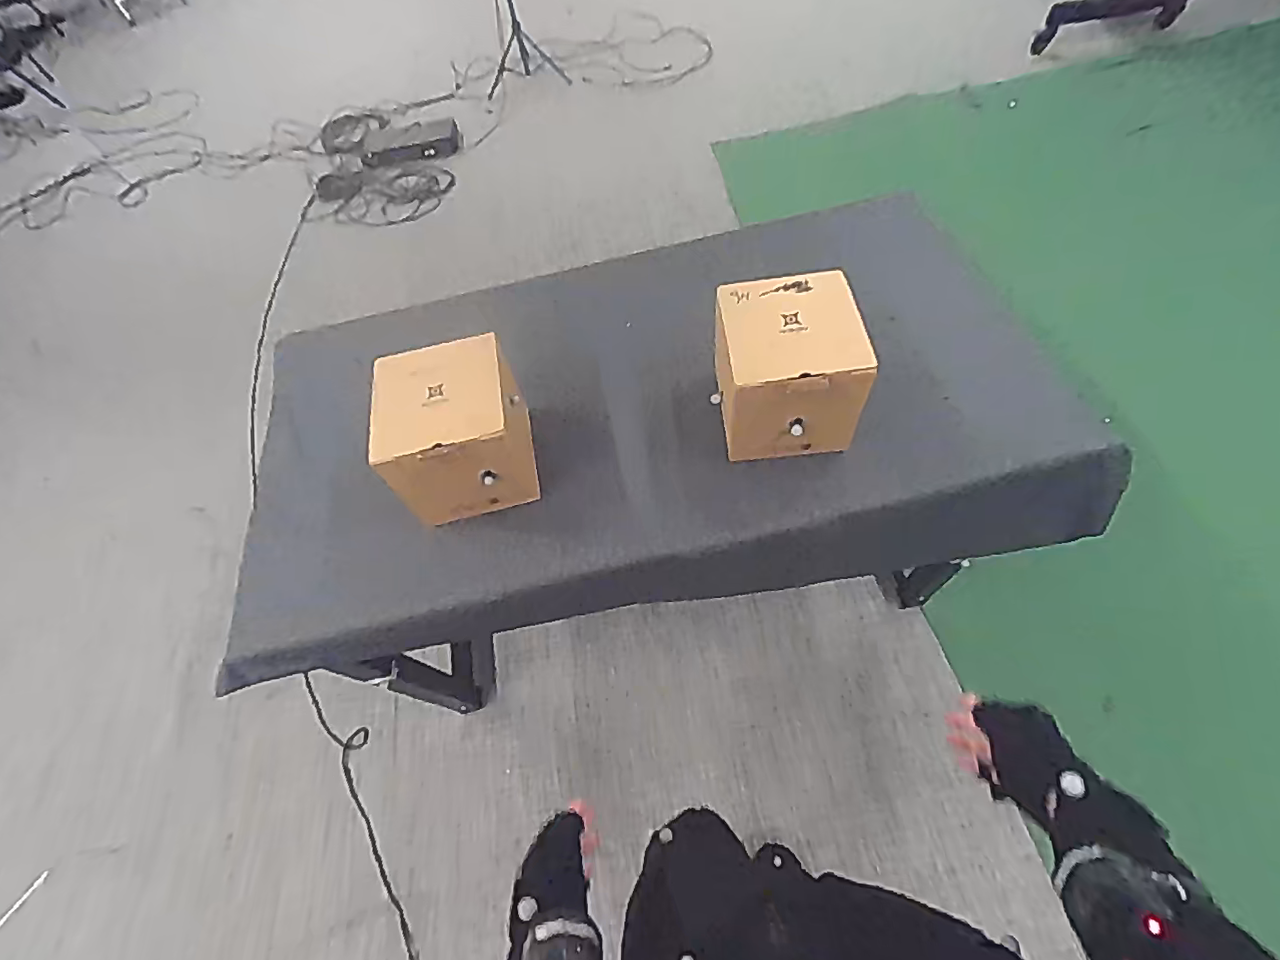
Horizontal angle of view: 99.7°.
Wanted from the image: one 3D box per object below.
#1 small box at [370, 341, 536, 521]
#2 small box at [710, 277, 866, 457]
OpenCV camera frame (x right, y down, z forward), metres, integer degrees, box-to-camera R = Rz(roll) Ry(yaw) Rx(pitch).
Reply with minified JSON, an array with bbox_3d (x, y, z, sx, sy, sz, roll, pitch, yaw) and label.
[{"bbox_3d":[-0.251,-0.058,0.754,0.168,0.176,0.179,-14,57,-2],"label":"small box"},{"bbox_3d":[0.189,-0.144,0.741,0.168,0.176,0.179,-6,60,4],"label":"small box"}]
